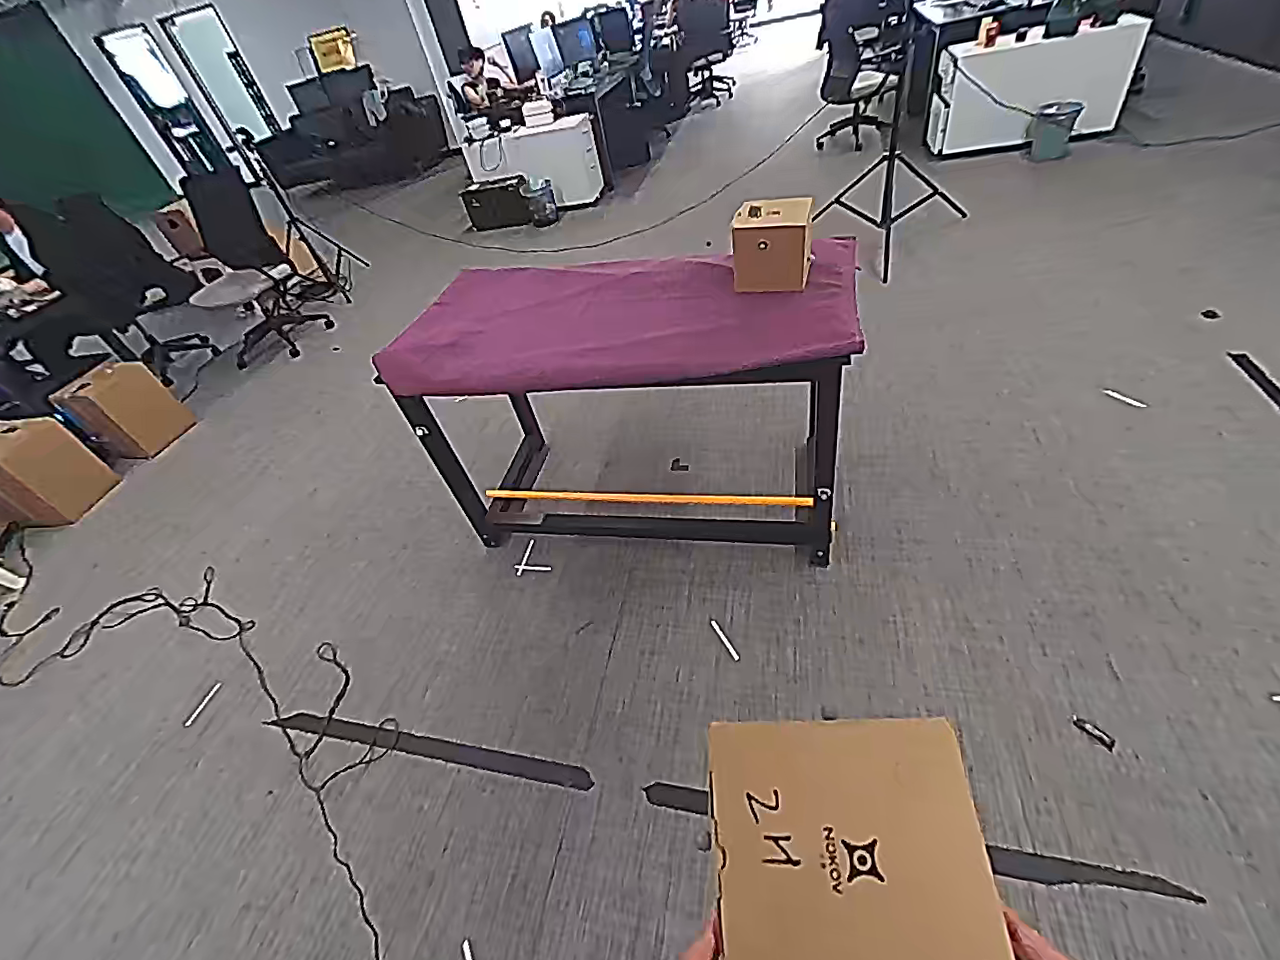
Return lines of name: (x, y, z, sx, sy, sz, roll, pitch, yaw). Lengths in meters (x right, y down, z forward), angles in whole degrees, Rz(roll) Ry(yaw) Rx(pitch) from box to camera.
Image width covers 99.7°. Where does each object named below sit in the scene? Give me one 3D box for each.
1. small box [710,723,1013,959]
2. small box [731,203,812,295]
small box: (0.147, 0.287, 0.425, 0.179, 0.176, 0.168, -4, 60, 6)
small box: (0.342, -0.591, 1.393, 0.179, 0.176, 0.168, 6, 48, 19)
